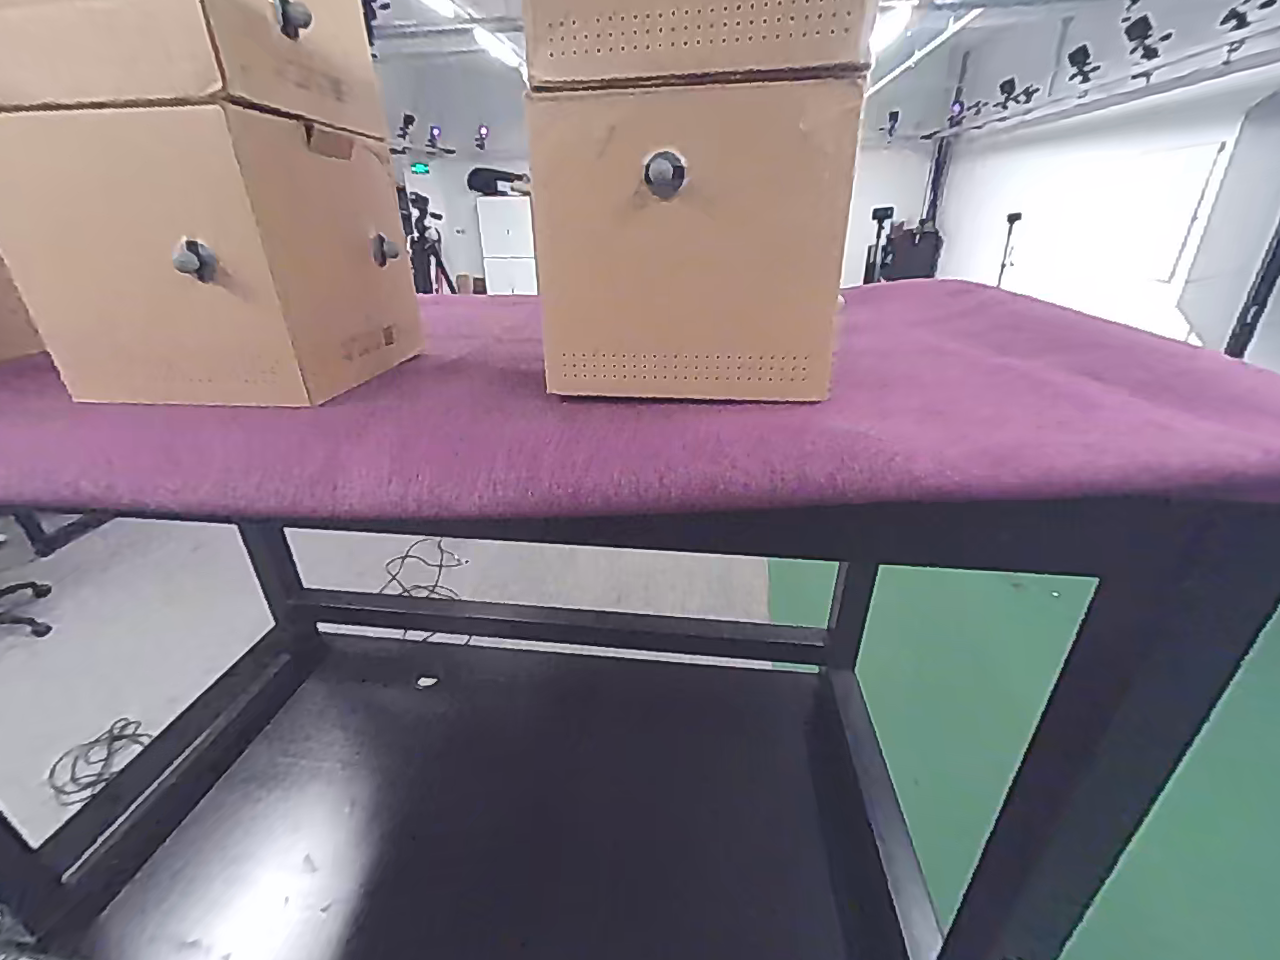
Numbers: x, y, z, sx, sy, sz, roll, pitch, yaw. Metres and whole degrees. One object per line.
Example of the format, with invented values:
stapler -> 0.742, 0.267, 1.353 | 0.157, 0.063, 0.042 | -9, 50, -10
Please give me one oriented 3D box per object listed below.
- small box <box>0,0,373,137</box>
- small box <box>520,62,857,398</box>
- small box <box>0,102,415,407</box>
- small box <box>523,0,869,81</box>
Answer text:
small box -> -0.295, -0.302, 0.320 | 0.179, 0.176, 0.168 | 1, 26, 4
small box -> 0.034, -0.158, 0.375 | 0.179, 0.176, 0.168 | 3, 24, 8
small box -> -0.290, -0.154, 0.389 | 0.179, 0.176, 0.168 | 1, 26, 5
small box -> 0.034, -0.308, 0.309 | 0.179, 0.176, 0.168 | 2, 25, 9
